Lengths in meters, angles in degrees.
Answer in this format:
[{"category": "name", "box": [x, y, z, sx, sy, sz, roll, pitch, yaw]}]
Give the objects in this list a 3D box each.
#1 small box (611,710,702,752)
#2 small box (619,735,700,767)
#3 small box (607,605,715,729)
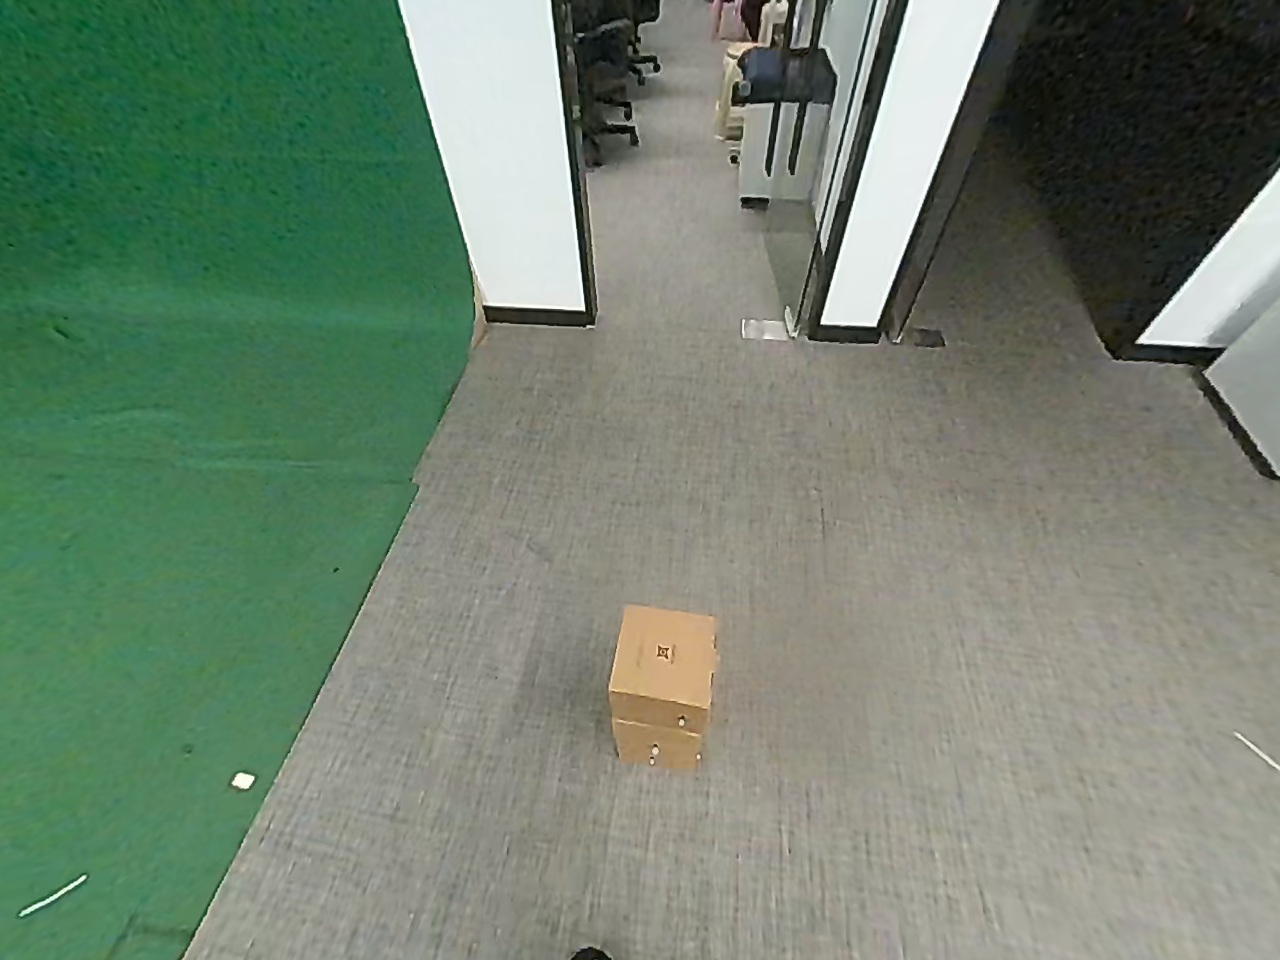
[{"category": "small box", "box": [0.044, 0.463, 1.149, 0.179, 0.176, 0.168, 8, 52, 7]}, {"category": "small box", "box": [0.049, 0.566, 1.274, 0.179, 0.176, 0.168, 5, 52, 4]}, {"category": "small box", "box": [0.044, 0.357, 1.025, 0.179, 0.176, 0.168, 5, 51, 7]}]
